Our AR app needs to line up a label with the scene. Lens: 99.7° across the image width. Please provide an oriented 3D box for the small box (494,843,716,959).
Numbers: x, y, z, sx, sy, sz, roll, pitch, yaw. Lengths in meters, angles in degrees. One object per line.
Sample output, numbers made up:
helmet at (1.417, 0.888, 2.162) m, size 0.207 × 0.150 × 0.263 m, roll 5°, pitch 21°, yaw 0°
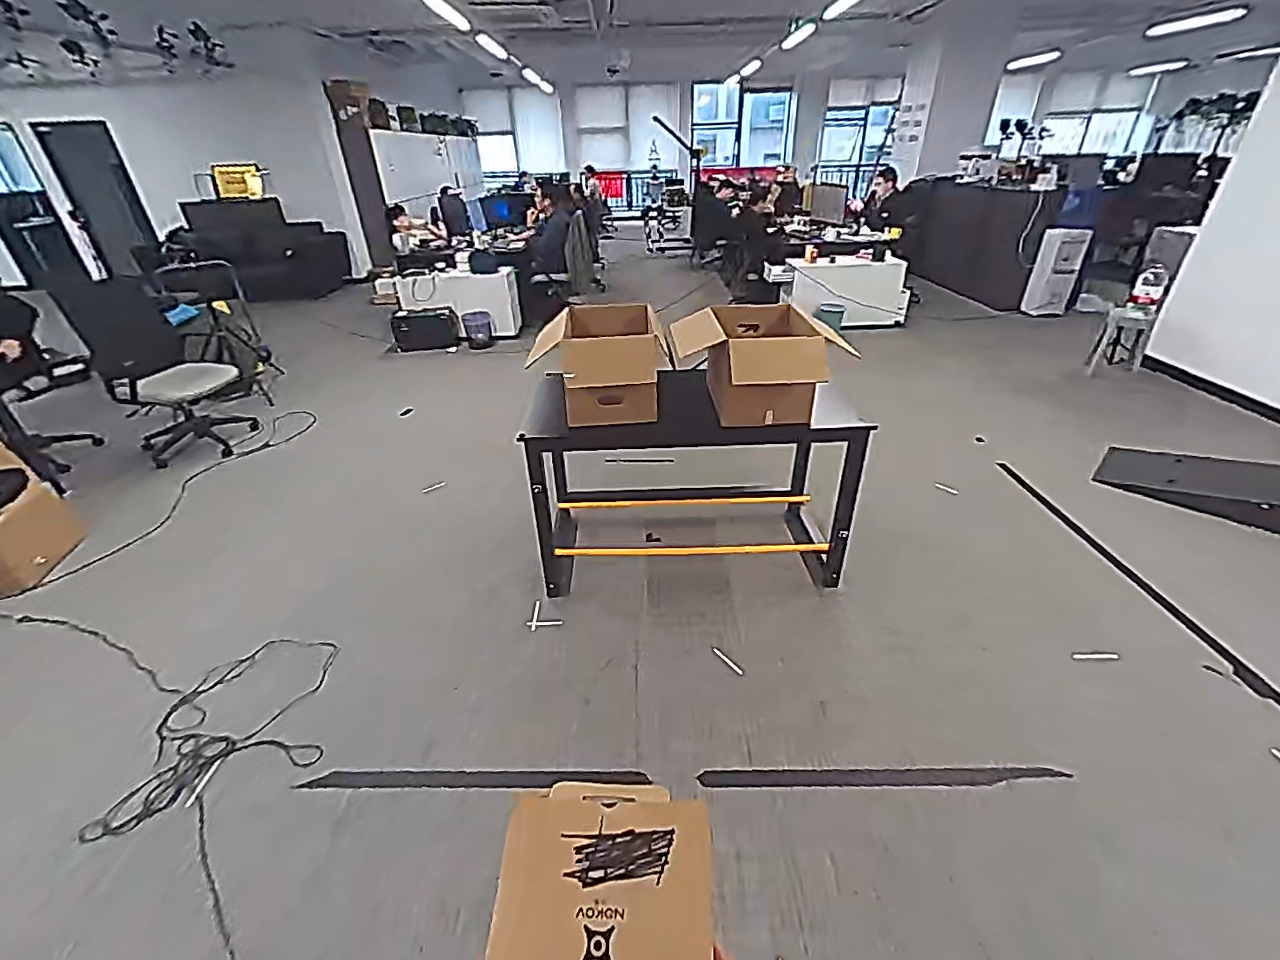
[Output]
small box at (-0.026, 0.419, 0.437) m, size 0.168 × 0.176 × 0.179 m, roll 0°, pitch 45°, yaw 2°
